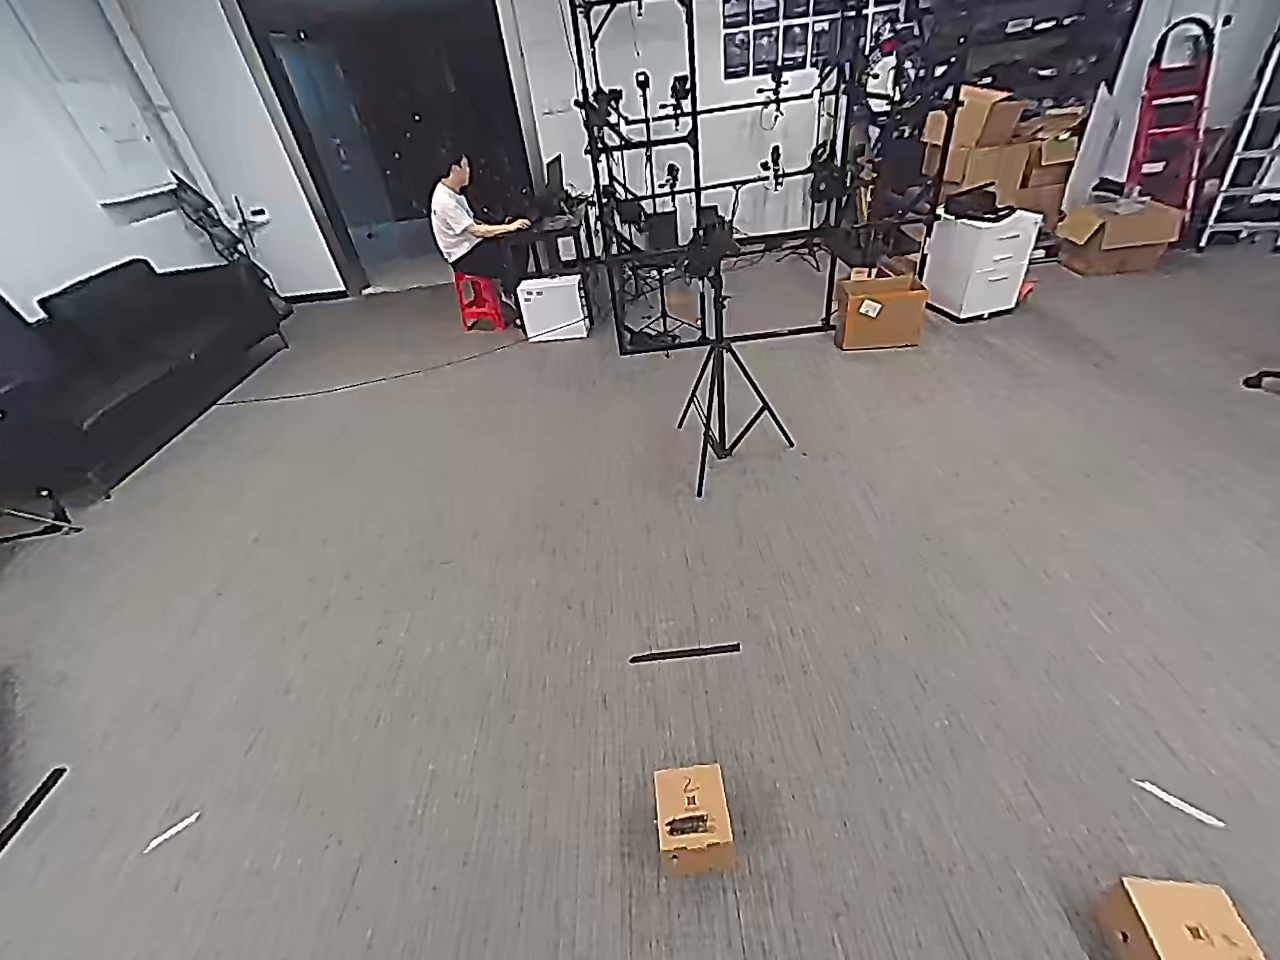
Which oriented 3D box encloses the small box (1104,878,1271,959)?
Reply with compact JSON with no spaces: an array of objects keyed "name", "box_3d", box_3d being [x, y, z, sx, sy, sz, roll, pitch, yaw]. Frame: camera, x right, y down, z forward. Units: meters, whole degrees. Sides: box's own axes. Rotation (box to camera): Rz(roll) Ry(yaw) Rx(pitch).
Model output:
[{"name":"small box","box_3d":[1.037,0.893,1.031,0.179,0.176,0.168,-1,38,10]}]
